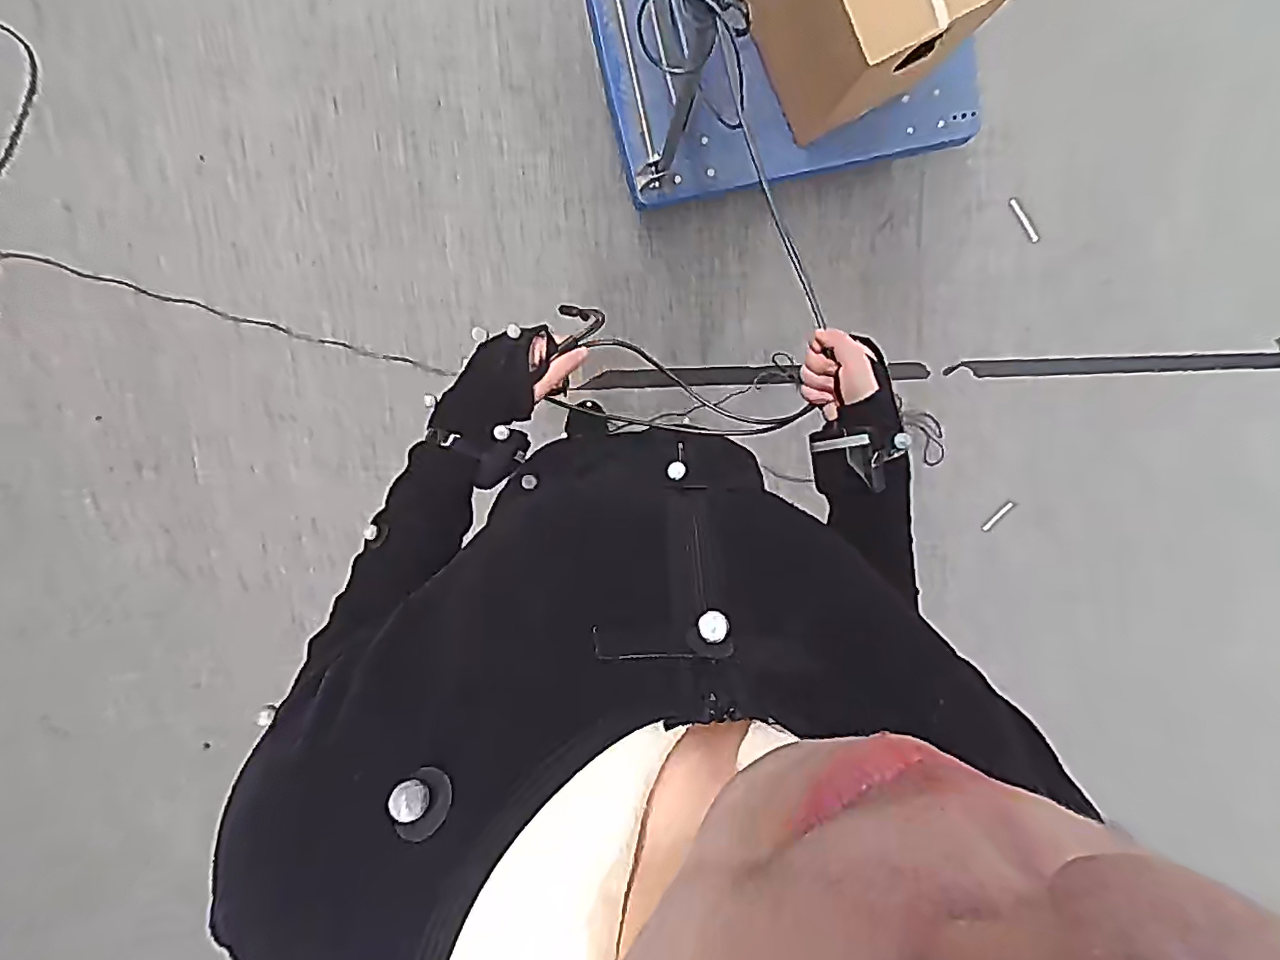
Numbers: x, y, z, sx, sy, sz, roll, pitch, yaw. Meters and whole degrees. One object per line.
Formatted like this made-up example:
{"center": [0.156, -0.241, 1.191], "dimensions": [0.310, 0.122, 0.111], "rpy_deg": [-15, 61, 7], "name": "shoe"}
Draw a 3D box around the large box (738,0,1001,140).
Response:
{"center": [0.427, -1.005, 1.079], "dimensions": [0.320, 0.320, 0.408], "rpy_deg": [-29, 102, -2], "name": "large box"}
